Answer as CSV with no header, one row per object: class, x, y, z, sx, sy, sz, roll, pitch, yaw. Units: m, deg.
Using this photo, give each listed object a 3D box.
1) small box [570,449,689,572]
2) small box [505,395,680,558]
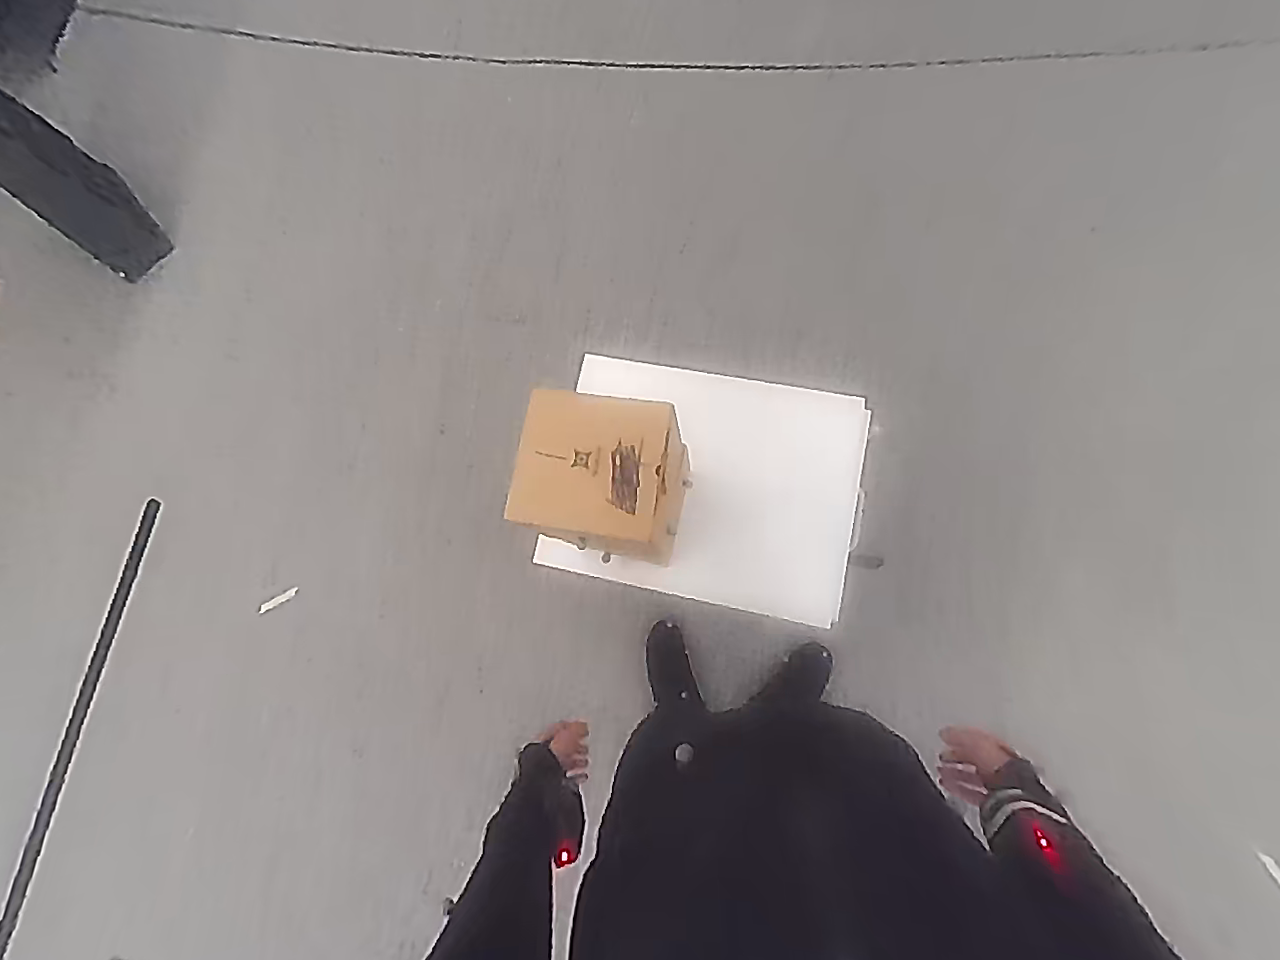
small box,-0.021,0.040,0.855,0.168,0.176,0.179,12,79,10
small box,-0.047,0.005,0.697,0.179,0.176,0.168,7,78,10
